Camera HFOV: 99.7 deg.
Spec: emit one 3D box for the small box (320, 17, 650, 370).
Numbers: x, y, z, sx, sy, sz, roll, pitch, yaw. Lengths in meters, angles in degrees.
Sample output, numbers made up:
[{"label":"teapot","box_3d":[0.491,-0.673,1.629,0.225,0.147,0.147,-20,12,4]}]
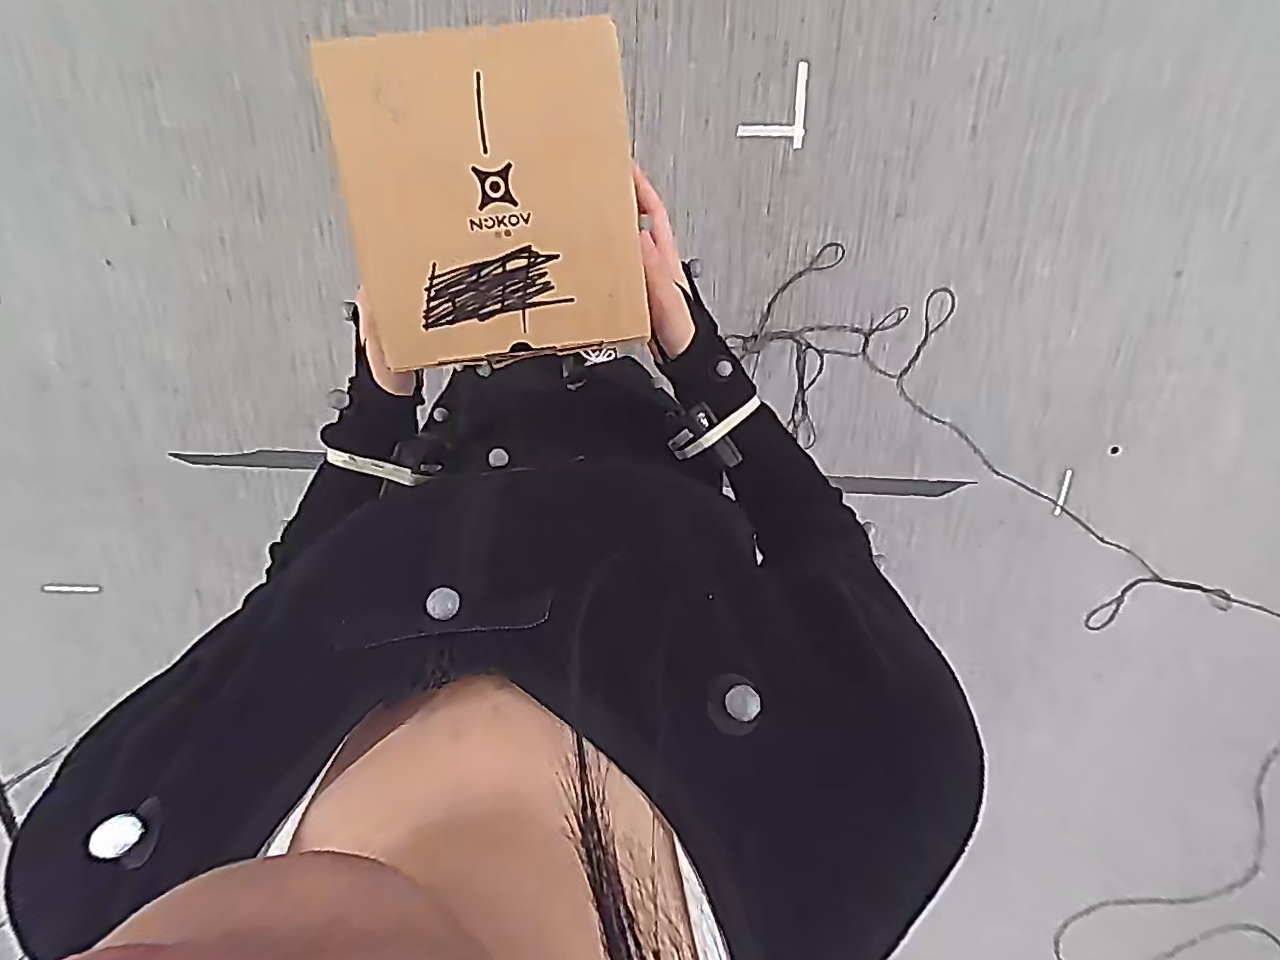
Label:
[{"label":"small box","box_3d":[-0.089,-0.181,0.391,0.168,0.176,0.179,-8,104,-4]}]
